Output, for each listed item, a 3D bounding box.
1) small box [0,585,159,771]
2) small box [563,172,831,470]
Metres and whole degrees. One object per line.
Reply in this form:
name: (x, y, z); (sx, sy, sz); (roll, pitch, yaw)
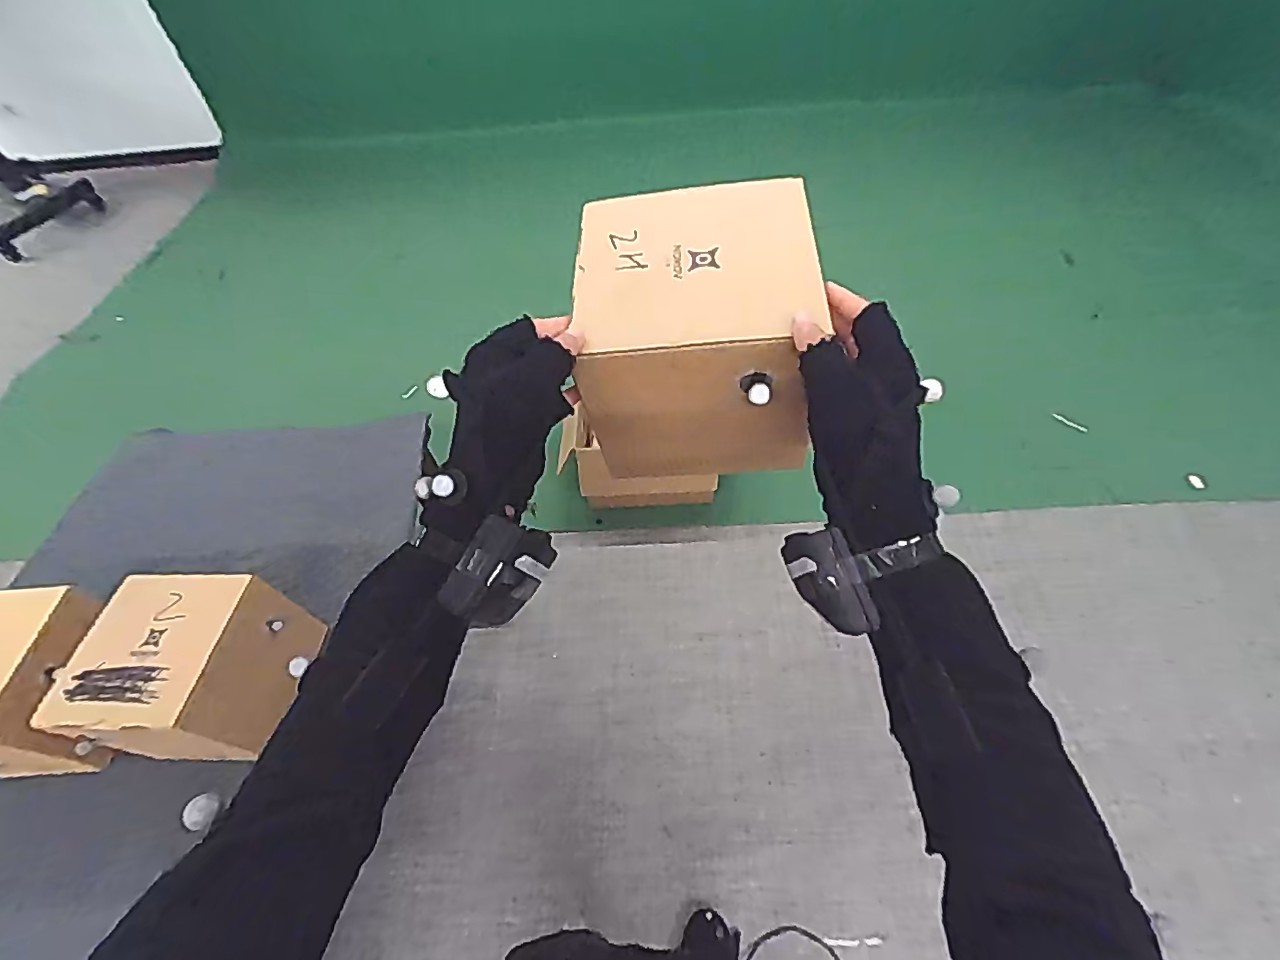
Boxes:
small box: (-0.764, 0.249, 0.672); (0.168, 0.176, 0.179); (-5, 55, 1)
small box: (0.047, -0.120, 0.455); (0.179, 0.176, 0.168); (-4, 60, 8)
